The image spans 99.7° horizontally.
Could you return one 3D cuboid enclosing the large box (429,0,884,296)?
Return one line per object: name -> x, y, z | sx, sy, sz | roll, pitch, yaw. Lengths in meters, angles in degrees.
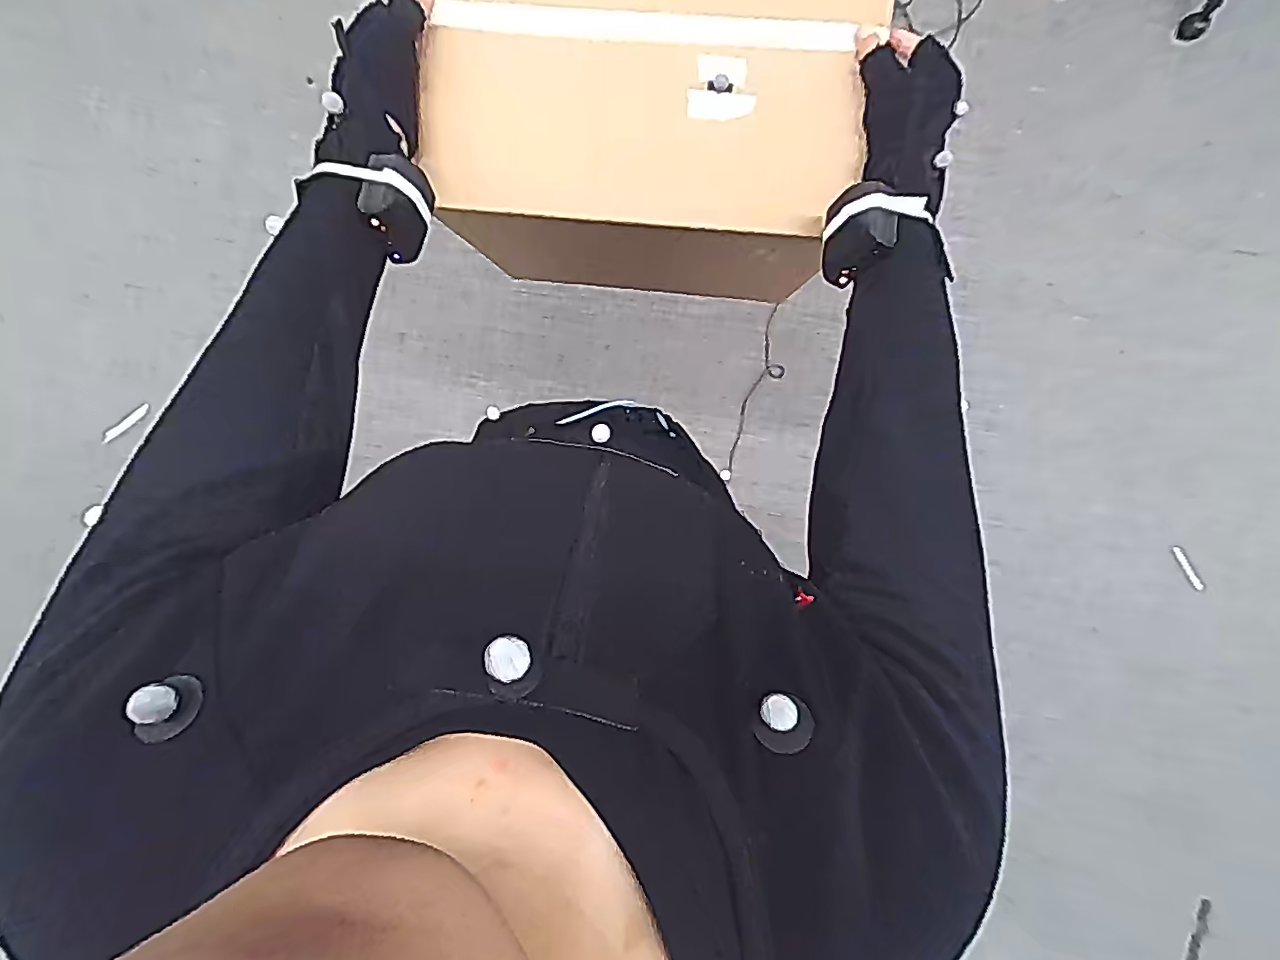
large box -> 0.015, -0.411, 0.625 | 0.408, 0.320, 0.320 | 5, 99, 1
